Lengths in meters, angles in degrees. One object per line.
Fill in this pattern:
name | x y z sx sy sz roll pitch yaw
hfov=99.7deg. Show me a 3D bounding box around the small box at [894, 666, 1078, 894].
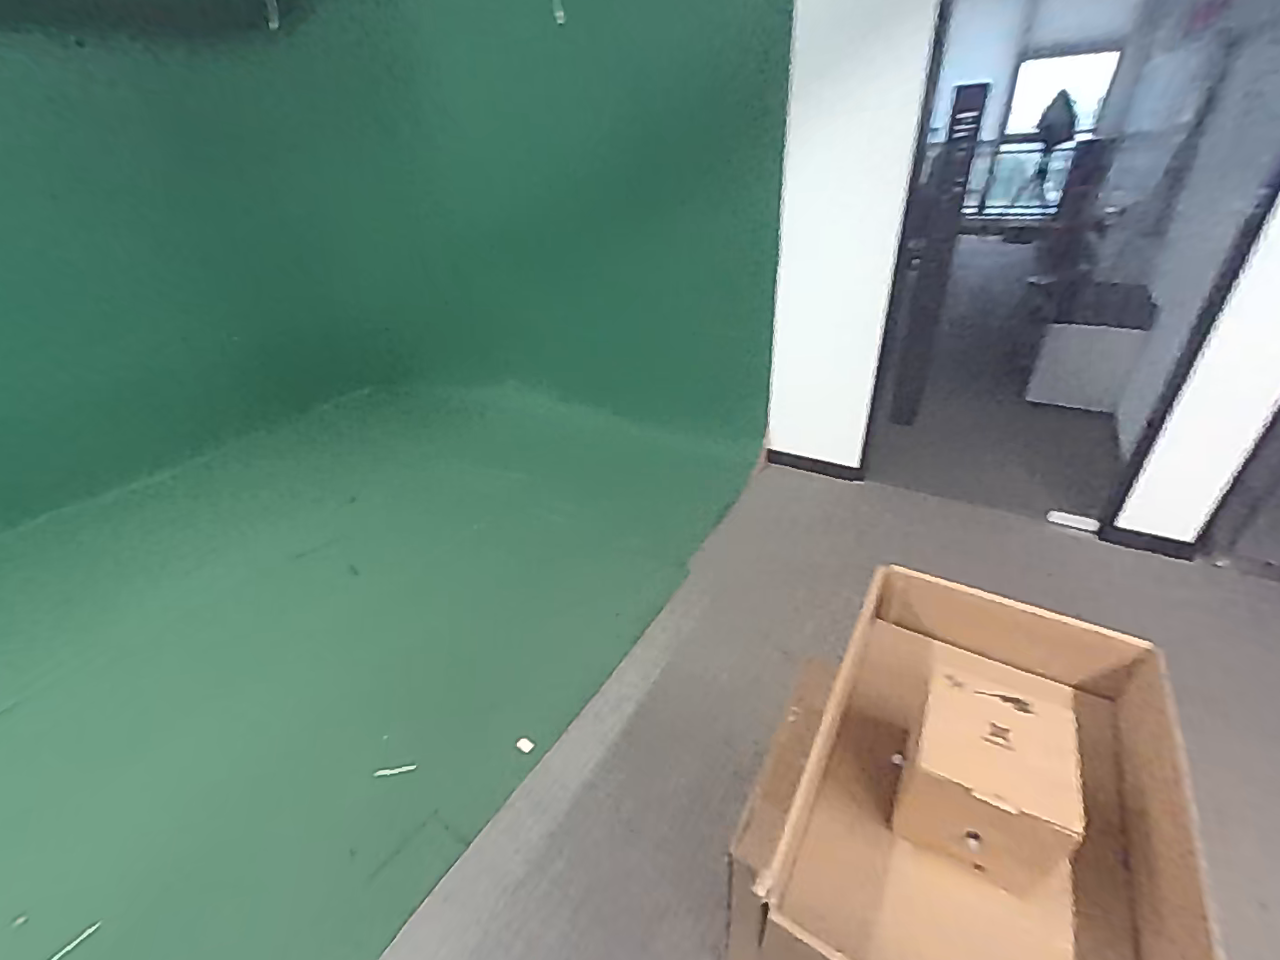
small box | 0.450 0.393 0.718 0.168 0.176 0.179 17 38 27
